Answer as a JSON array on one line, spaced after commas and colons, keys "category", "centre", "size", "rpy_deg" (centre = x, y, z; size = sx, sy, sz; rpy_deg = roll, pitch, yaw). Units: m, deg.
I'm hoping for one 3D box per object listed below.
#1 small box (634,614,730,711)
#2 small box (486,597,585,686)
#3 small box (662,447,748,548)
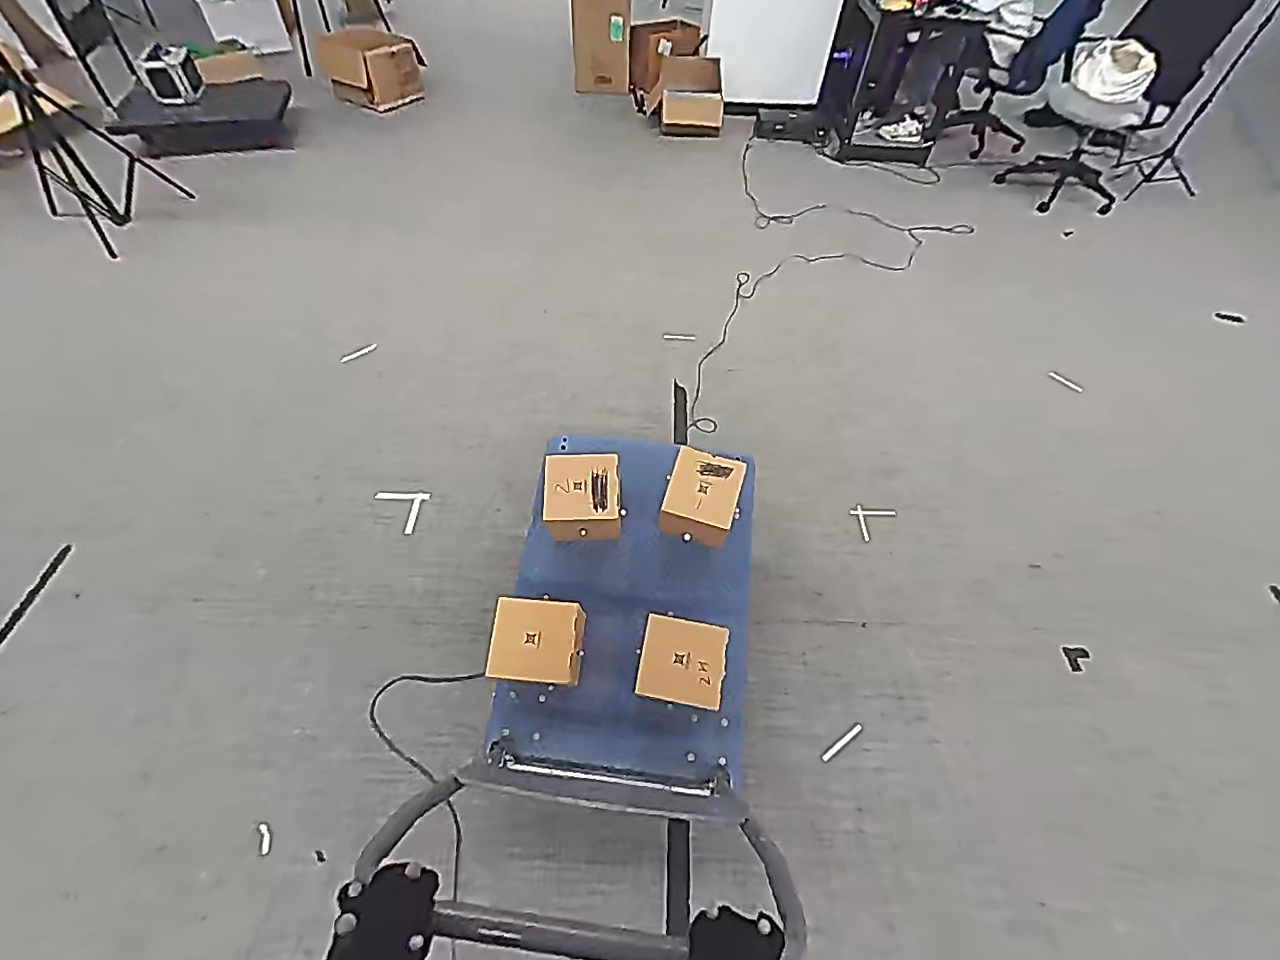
[{"category": "small box", "centre": [0.090, 0.405, 1.190], "size": [0.179, 0.176, 0.168], "rpy_deg": [11, 69, 4]}, {"category": "small box", "centre": [-0.225, 0.366, 1.207], "size": [0.179, 0.176, 0.168], "rpy_deg": [5, 67, 0]}, {"category": "small box", "centre": [0.153, 0.048, 1.338], "size": [0.168, 0.176, 0.179], "rpy_deg": [17, 70, 7]}]
